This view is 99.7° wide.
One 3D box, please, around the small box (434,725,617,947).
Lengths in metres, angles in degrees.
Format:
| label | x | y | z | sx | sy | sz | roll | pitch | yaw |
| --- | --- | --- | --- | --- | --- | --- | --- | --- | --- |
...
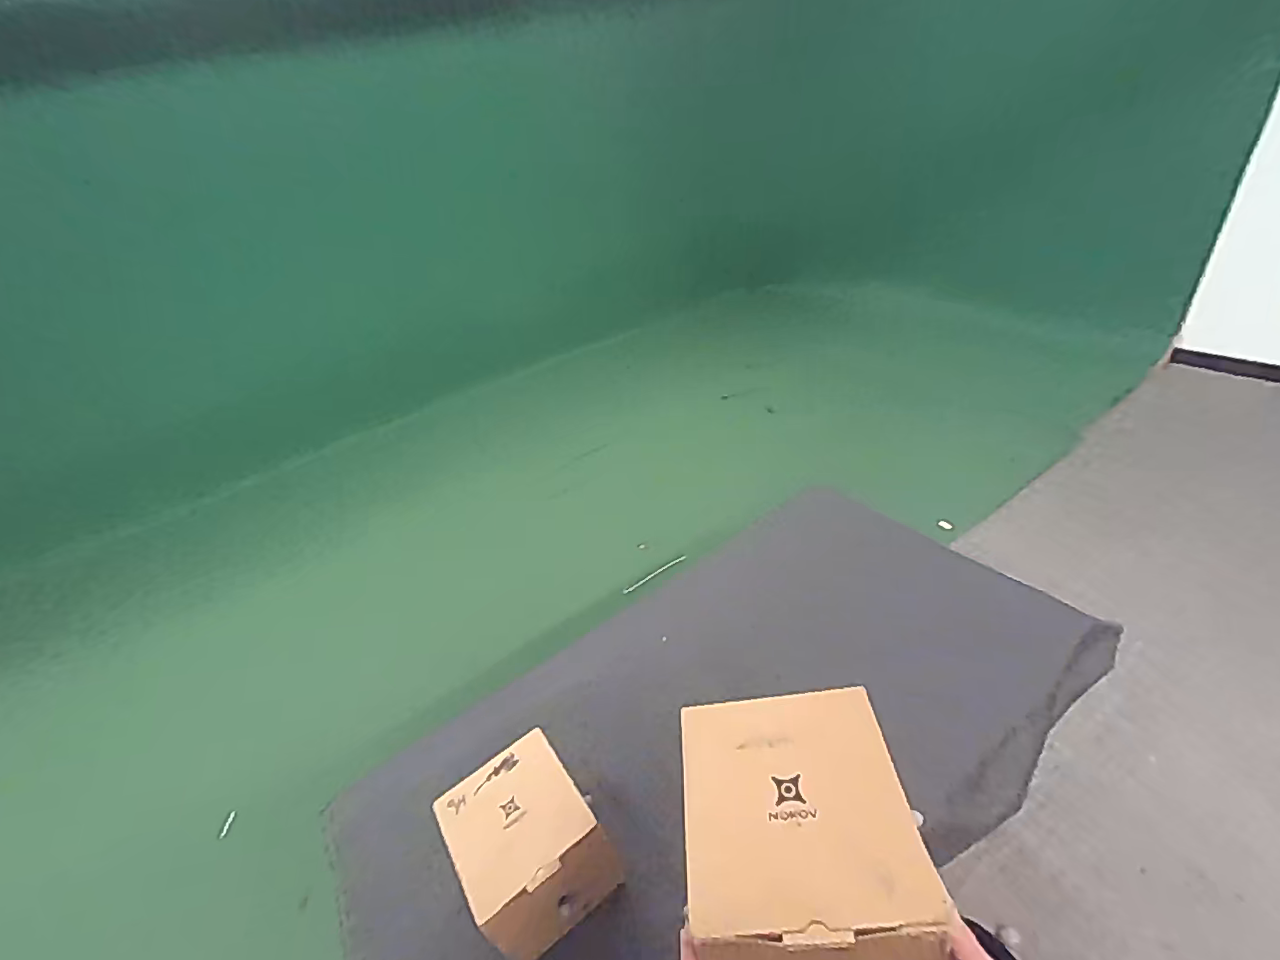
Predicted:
| label | x | y | z | sx | sy | sz | roll | pitch | yaw |
| --- | --- | --- | --- | --- | --- | --- | --- | --- | --- |
| small box | -0.150 | 0.488 | 0.742 | 0.168 | 0.176 | 0.179 | -29 | 39 | -24 |

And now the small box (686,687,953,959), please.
| label | x | y | z | sx | sy | sz | roll | pitch | yaw |
| --- | --- | --- | --- | --- | --- | --- | --- | --- | --- |
| small box | 0.135 | 0.307 | 0.453 | 0.168 | 0.176 | 0.179 | -9 | 30 | 7 |
